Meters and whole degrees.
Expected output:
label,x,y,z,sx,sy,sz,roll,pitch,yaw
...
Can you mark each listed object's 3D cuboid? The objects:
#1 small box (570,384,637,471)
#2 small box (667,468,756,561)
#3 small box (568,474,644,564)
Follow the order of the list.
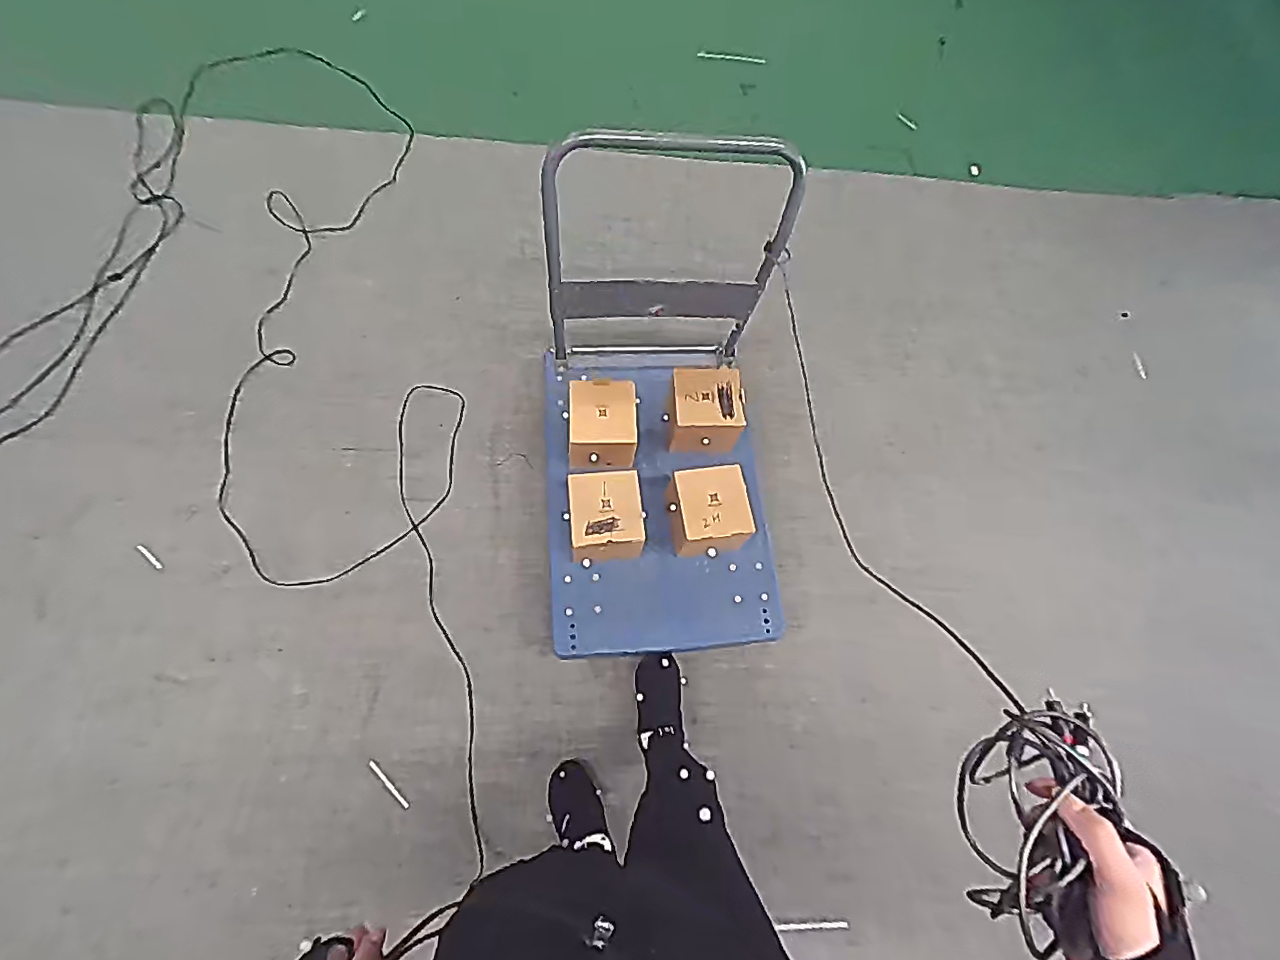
label,x,y,z,sx,sy,sz,roll,pitch,yaw
small box,-0.097,-0.130,1.401,0.168,0.176,0.179,-1,68,-7
small box,0.168,0.088,1.338,0.168,0.176,0.179,-6,68,-8
small box,-0.085,0.100,1.307,0.168,0.176,0.179,-4,68,-8
